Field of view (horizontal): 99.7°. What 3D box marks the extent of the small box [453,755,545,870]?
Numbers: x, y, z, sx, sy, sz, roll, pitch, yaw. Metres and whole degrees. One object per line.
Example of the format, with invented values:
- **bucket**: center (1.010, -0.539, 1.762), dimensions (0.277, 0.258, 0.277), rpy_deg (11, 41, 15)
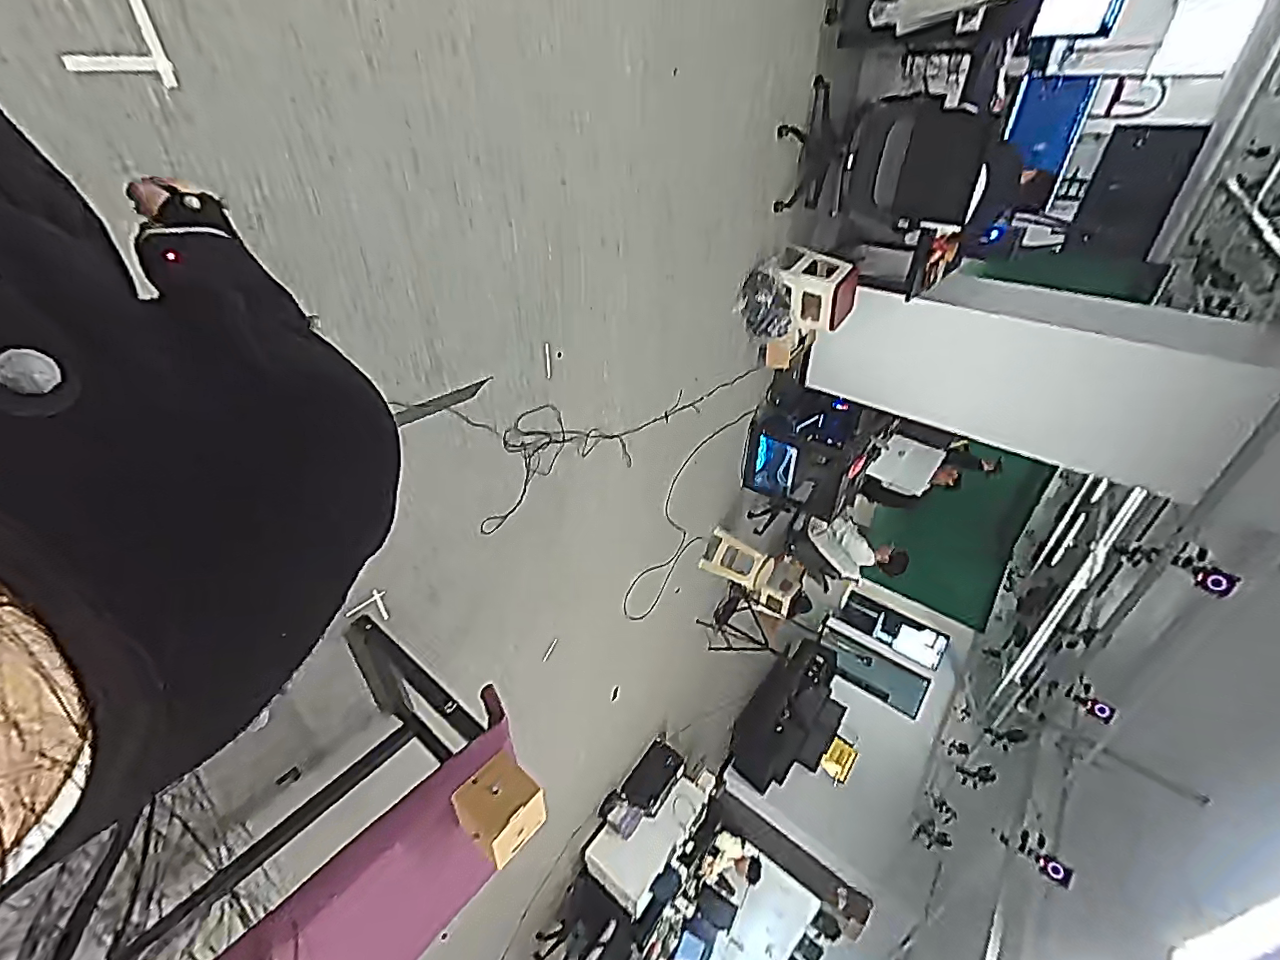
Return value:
- **small box**: center (-0.375, 0.870, 1.436), dimensions (0.168, 0.176, 0.179), rpy_deg (-33, 137, -41)
